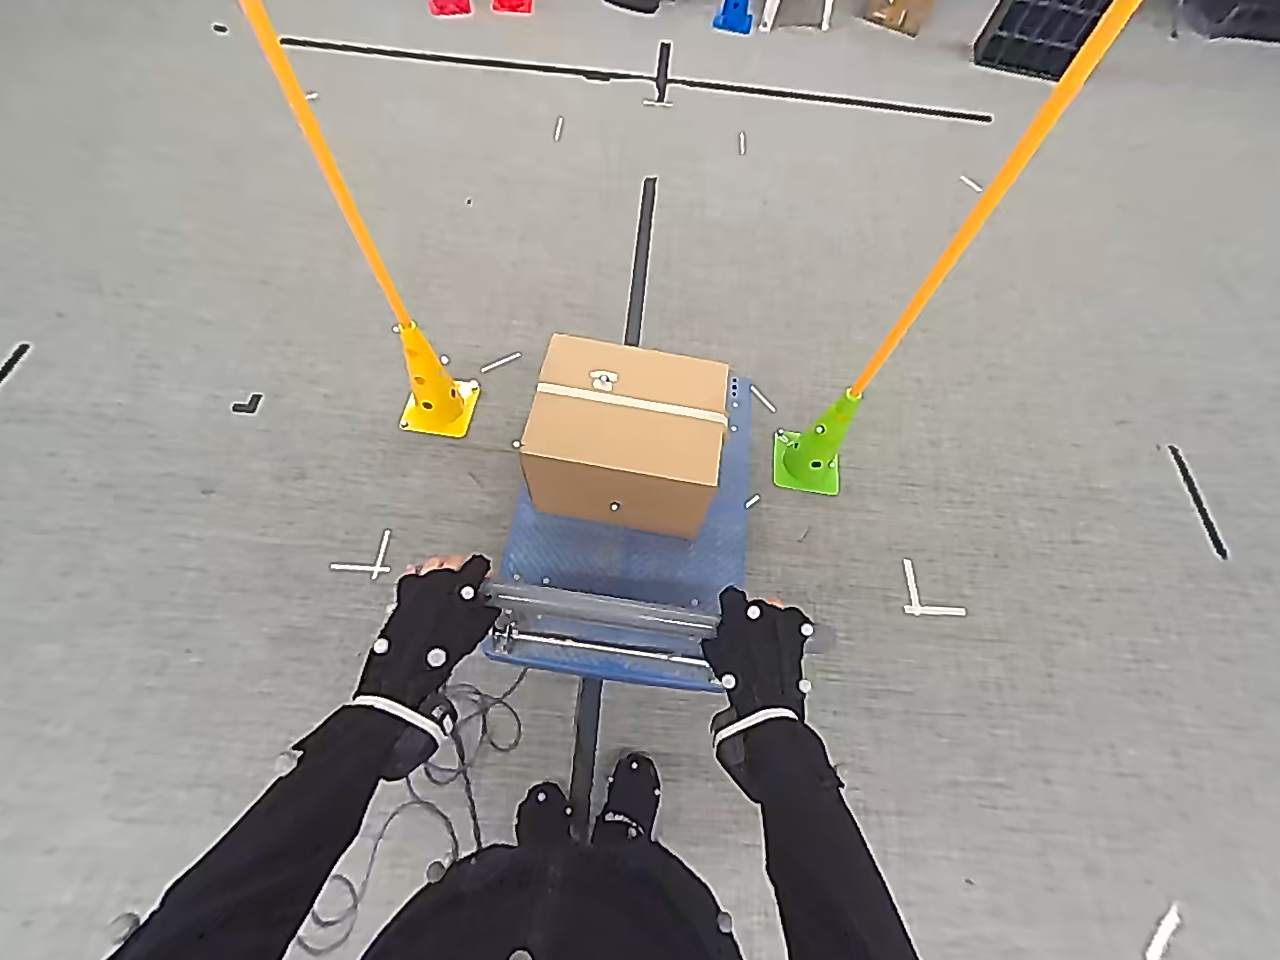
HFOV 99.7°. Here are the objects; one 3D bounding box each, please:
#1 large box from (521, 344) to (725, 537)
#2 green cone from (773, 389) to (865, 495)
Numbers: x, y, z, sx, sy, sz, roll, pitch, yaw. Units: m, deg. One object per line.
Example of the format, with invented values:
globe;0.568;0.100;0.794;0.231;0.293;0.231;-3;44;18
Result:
large box;-0.031;-0.081;1.292;0.408;0.320;0.320;10;63;1
green cone;0.527;-0.131;1.520;0.202;0.368;0.200;10;63;-1
